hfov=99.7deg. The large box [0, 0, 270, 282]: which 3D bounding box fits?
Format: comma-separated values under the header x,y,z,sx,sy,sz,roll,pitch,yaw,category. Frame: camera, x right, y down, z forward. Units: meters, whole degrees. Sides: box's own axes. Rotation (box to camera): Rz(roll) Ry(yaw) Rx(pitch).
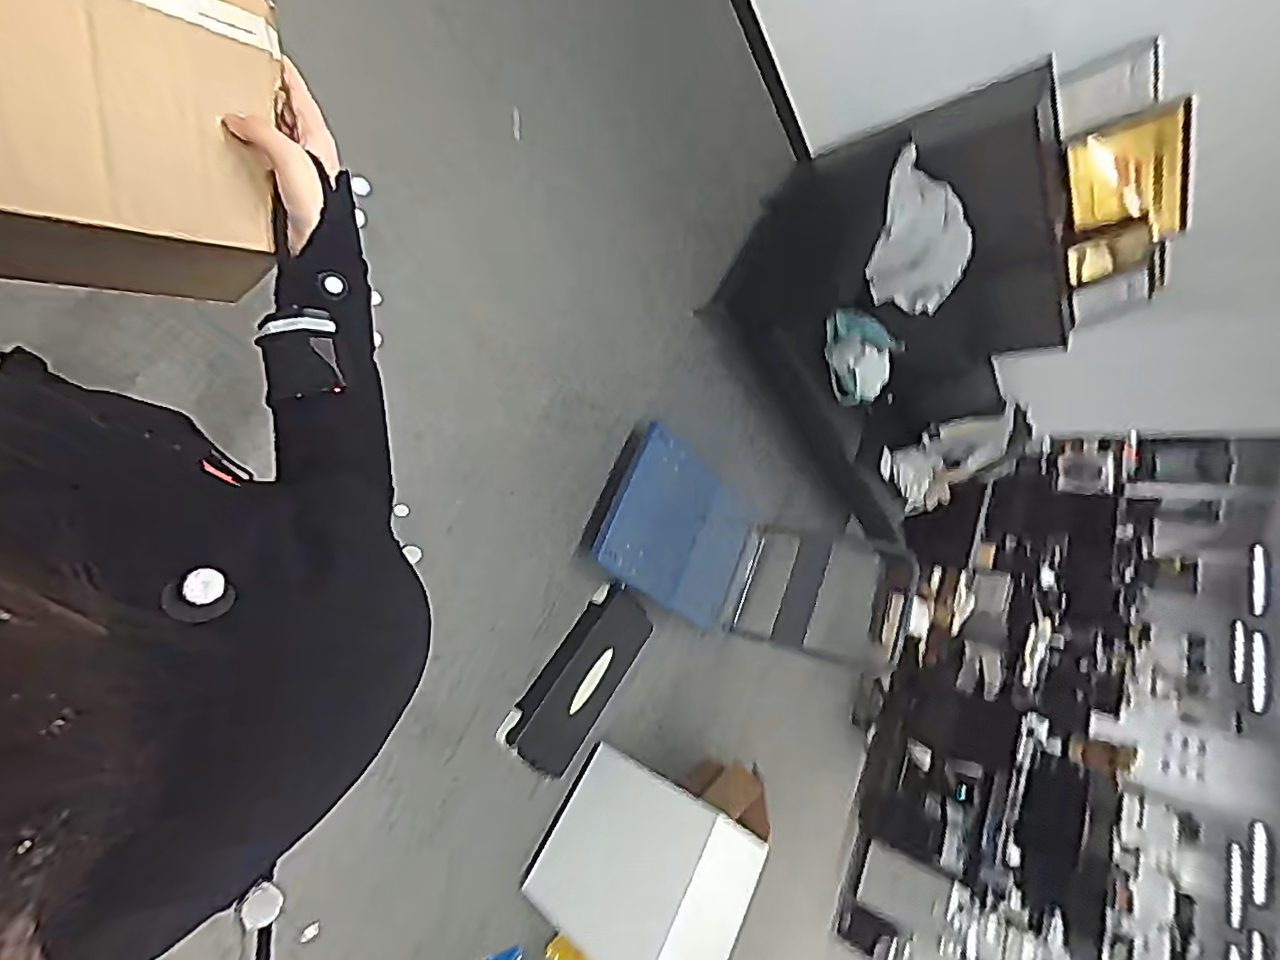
x,y,z,sx,sy,sz,roll,pitch,yaw,category
-0.548,-0.340,0.395,0.408,0.320,0.320,-9,103,-41,large box
